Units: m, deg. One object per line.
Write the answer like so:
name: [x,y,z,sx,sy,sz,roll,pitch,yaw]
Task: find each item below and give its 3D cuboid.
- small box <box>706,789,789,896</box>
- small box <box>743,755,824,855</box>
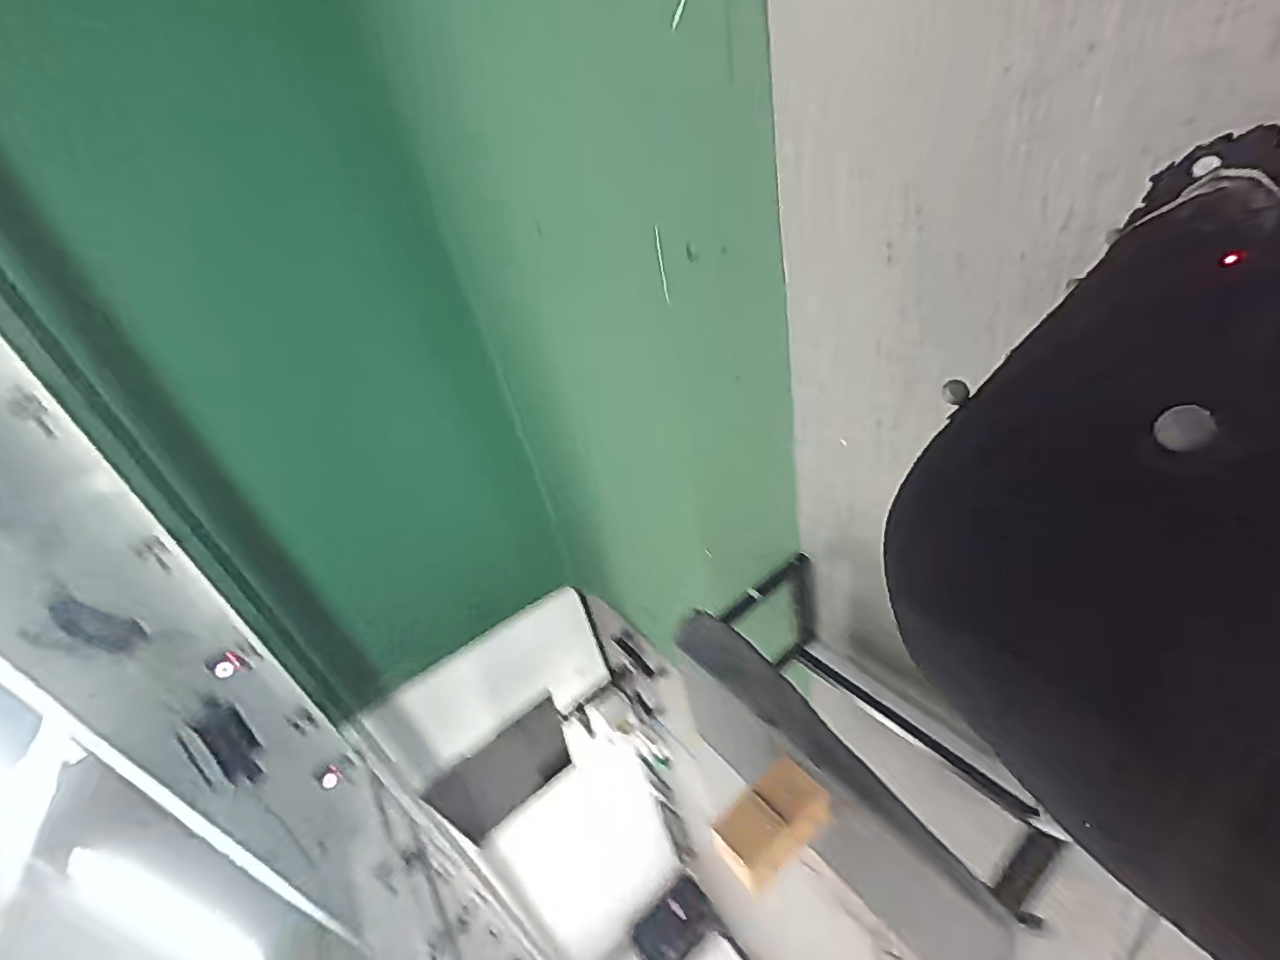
small box: [0.325,1.076,1.619,0.168,0.176,0.179,28,141,50]
small box: [0.458,1.010,1.696,0.179,0.176,0.168,24,139,54]
